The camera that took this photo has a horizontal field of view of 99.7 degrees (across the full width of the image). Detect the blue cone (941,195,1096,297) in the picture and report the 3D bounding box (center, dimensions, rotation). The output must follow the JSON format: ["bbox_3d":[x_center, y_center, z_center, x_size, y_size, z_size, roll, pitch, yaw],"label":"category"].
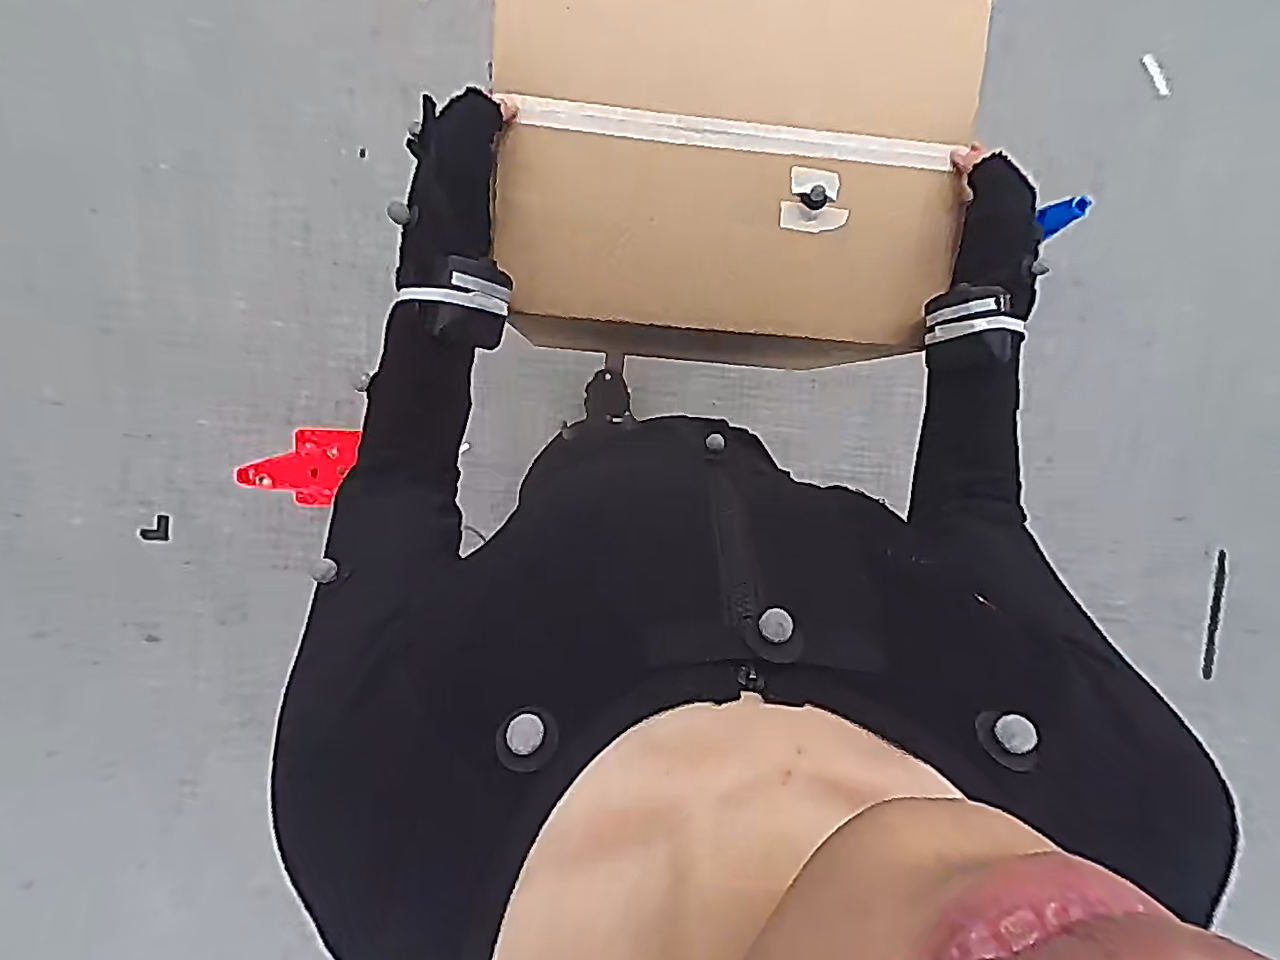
[{"bbox_3d":[0.915,-0.595,1.318,0.192,0.380,0.193,8,94,-5],"label":"blue cone"}]

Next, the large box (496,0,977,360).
[{"bbox_3d":[0.068,-0.315,0.602,0.408,0.320,0.320,3,98,-6],"label":"large box"}]

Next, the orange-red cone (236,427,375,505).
[{"bbox_3d":[-0.777,-0.019,1.228,0.198,0.360,0.199,3,95,-3],"label":"orange-red cone"}]
